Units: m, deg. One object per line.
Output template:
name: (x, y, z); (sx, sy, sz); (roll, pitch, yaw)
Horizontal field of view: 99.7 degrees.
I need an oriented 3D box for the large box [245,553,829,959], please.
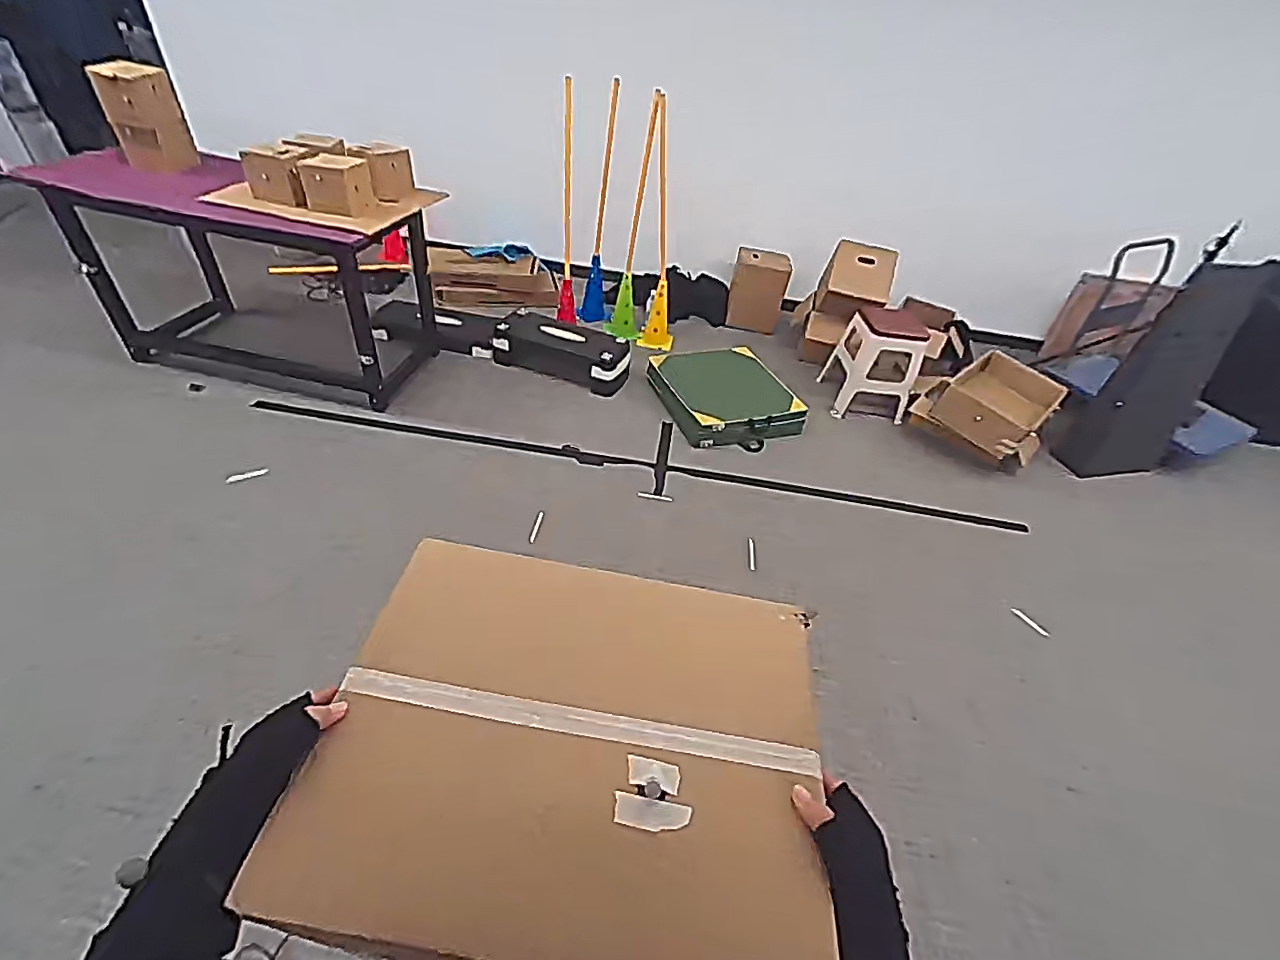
large box: (-0.070, 0.317, 0.565); (0.408, 0.320, 0.320); (11, 45, 0)
